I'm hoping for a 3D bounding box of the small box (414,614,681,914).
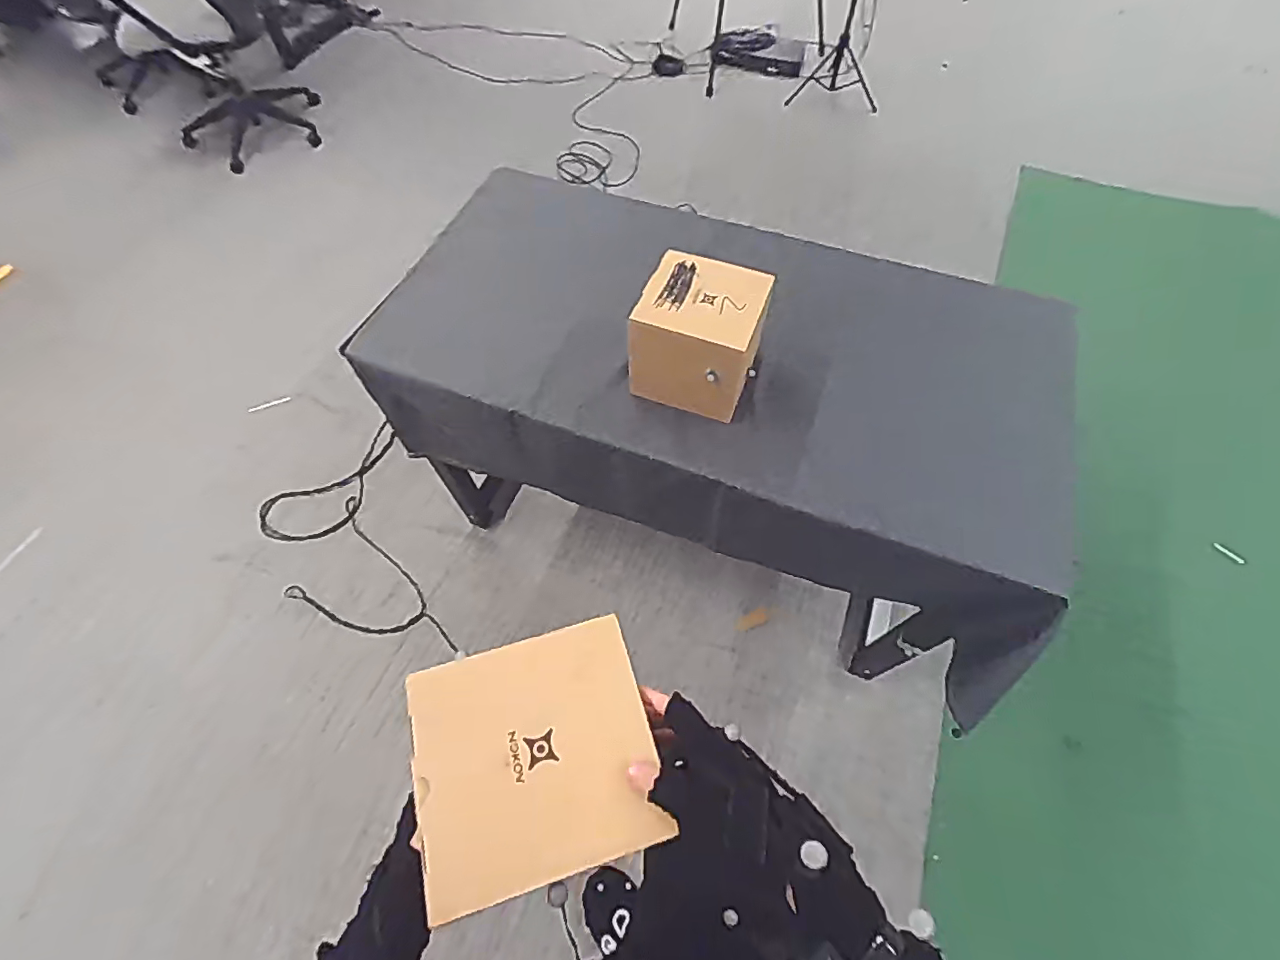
[{"bbox_3d":[-0.078,0.238,0.476,0.179,0.176,0.168,-14,61,-9],"label":"small box"}]
